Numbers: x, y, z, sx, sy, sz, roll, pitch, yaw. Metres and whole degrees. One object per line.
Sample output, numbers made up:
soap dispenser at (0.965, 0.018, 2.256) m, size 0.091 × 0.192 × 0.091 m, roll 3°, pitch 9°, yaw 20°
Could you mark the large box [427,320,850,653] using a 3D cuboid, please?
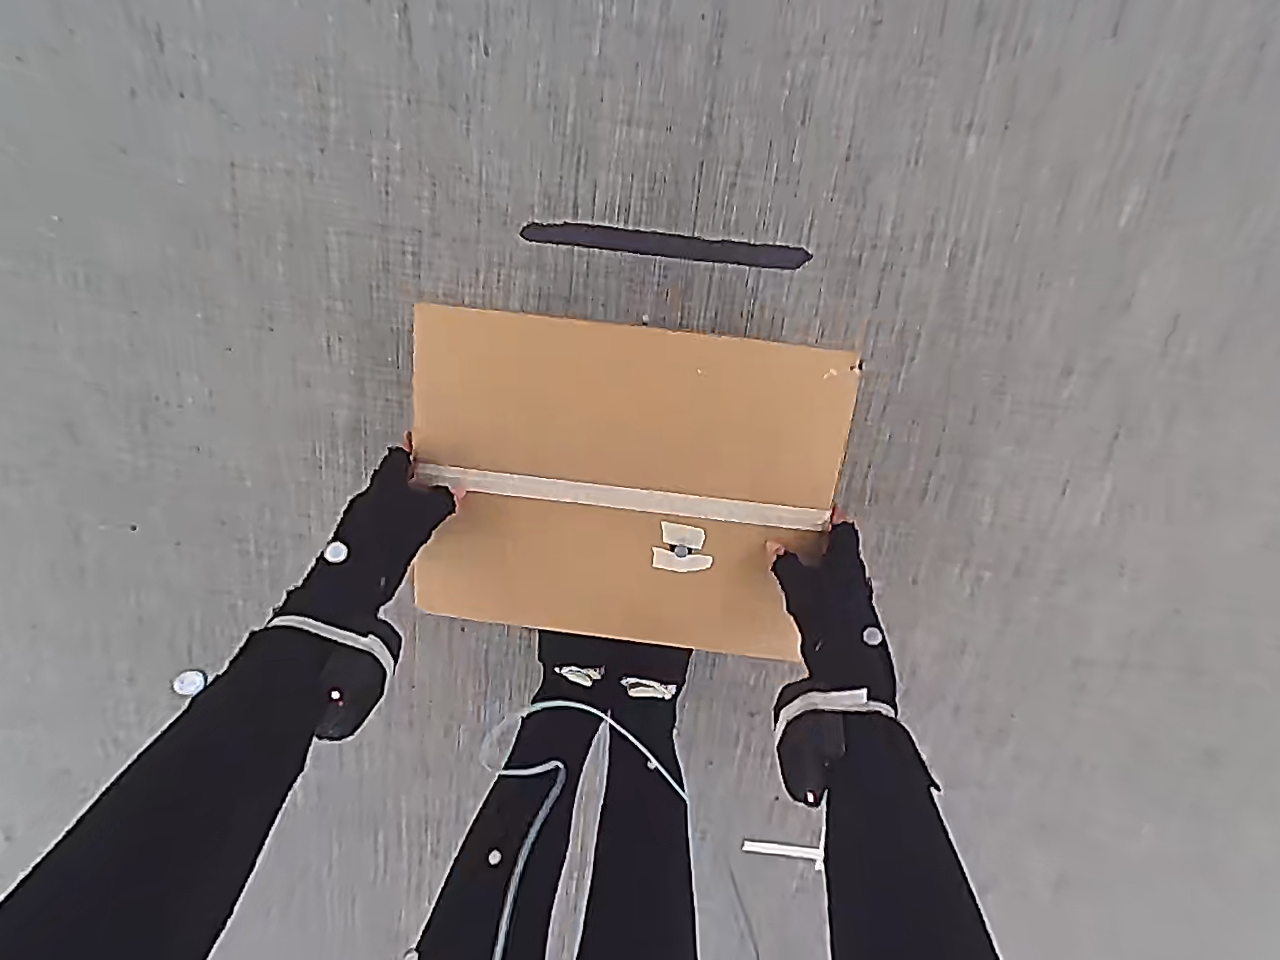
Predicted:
large box at (-0.011, -0.018, 0.681) m, size 0.408 × 0.320 × 0.320 m, roll 7°, pitch 105°, yaw 1°
